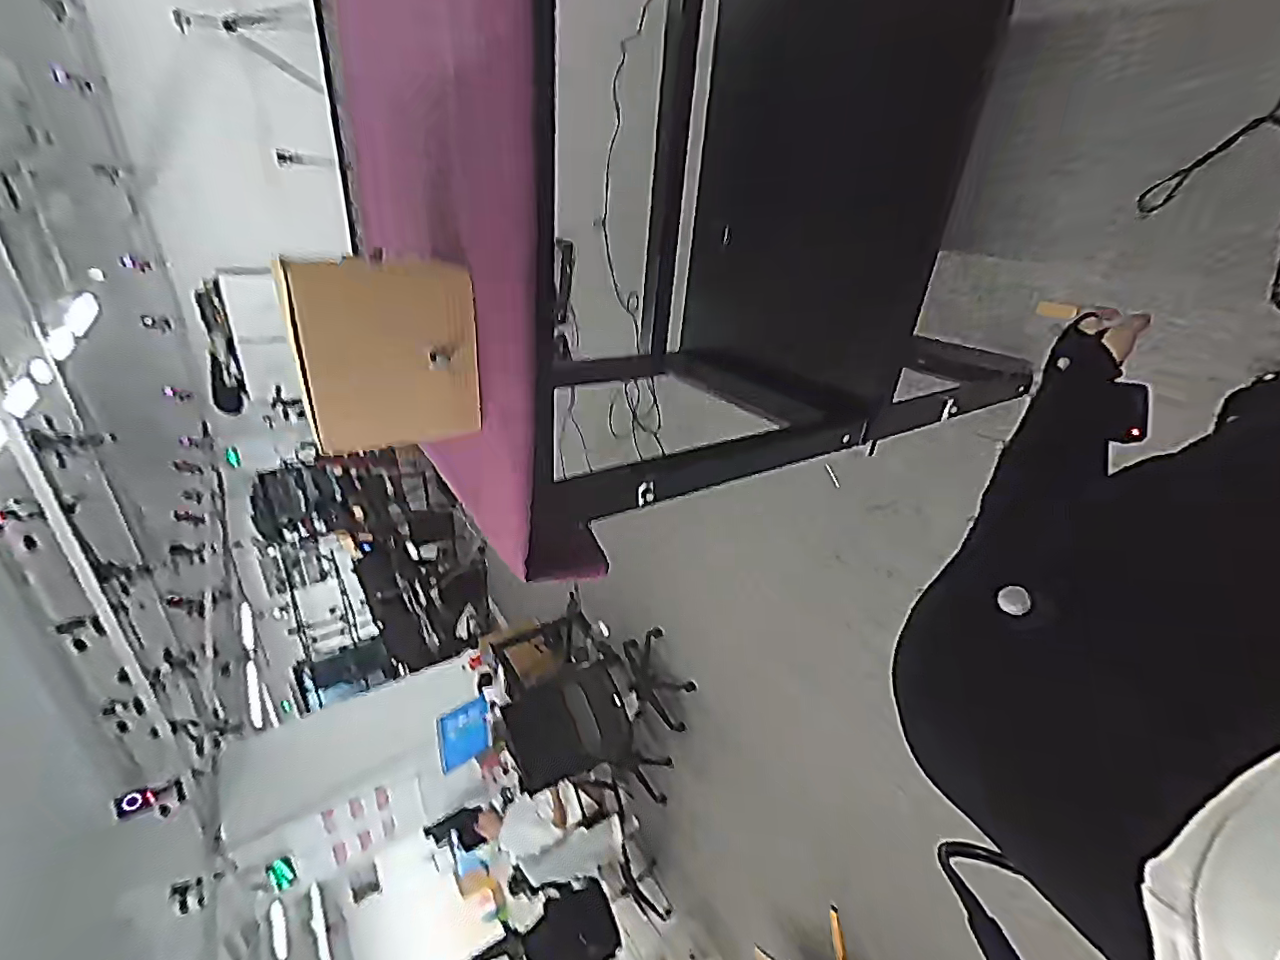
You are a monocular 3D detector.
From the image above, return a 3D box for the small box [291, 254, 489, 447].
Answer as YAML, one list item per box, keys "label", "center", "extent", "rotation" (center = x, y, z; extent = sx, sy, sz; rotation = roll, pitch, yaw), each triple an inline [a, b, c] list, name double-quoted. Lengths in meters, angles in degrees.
- label: "small box"
  center: [-0.282, -0.156, 0.620]
  extent: [0.168, 0.176, 0.179]
  rotation: [35, 129, 49]
